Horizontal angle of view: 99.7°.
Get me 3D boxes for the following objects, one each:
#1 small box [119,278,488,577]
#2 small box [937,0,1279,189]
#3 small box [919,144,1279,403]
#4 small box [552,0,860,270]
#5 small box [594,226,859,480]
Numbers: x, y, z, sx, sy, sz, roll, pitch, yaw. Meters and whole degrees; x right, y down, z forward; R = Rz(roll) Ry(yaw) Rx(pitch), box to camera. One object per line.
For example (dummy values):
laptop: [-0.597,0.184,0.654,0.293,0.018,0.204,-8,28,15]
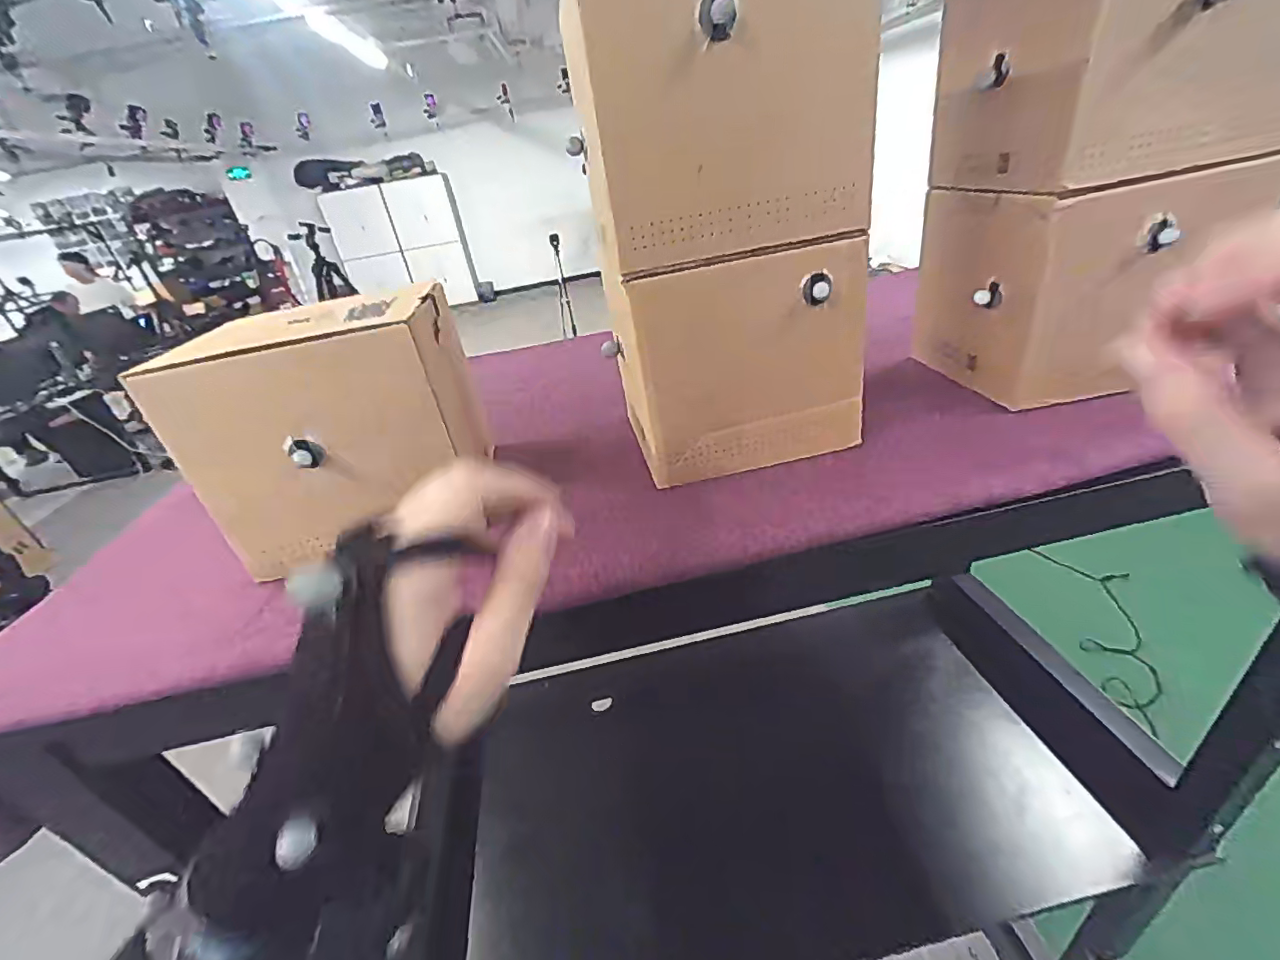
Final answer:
small box: [-0.233,-0.049,0.440,0.179,0.176,0.168,-14,31,-5]
small box: [0.343,-0.318,0.394,0.179,0.176,0.168,-12,32,0]
small box: [0.369,-0.179,0.477,0.179,0.176,0.168,-10,31,1]
small box: [0.043,-0.258,0.386,0.179,0.176,0.168,-12,31,-3]
small box: [0.068,-0.116,0.467,0.179,0.176,0.168,-12,30,-4]
